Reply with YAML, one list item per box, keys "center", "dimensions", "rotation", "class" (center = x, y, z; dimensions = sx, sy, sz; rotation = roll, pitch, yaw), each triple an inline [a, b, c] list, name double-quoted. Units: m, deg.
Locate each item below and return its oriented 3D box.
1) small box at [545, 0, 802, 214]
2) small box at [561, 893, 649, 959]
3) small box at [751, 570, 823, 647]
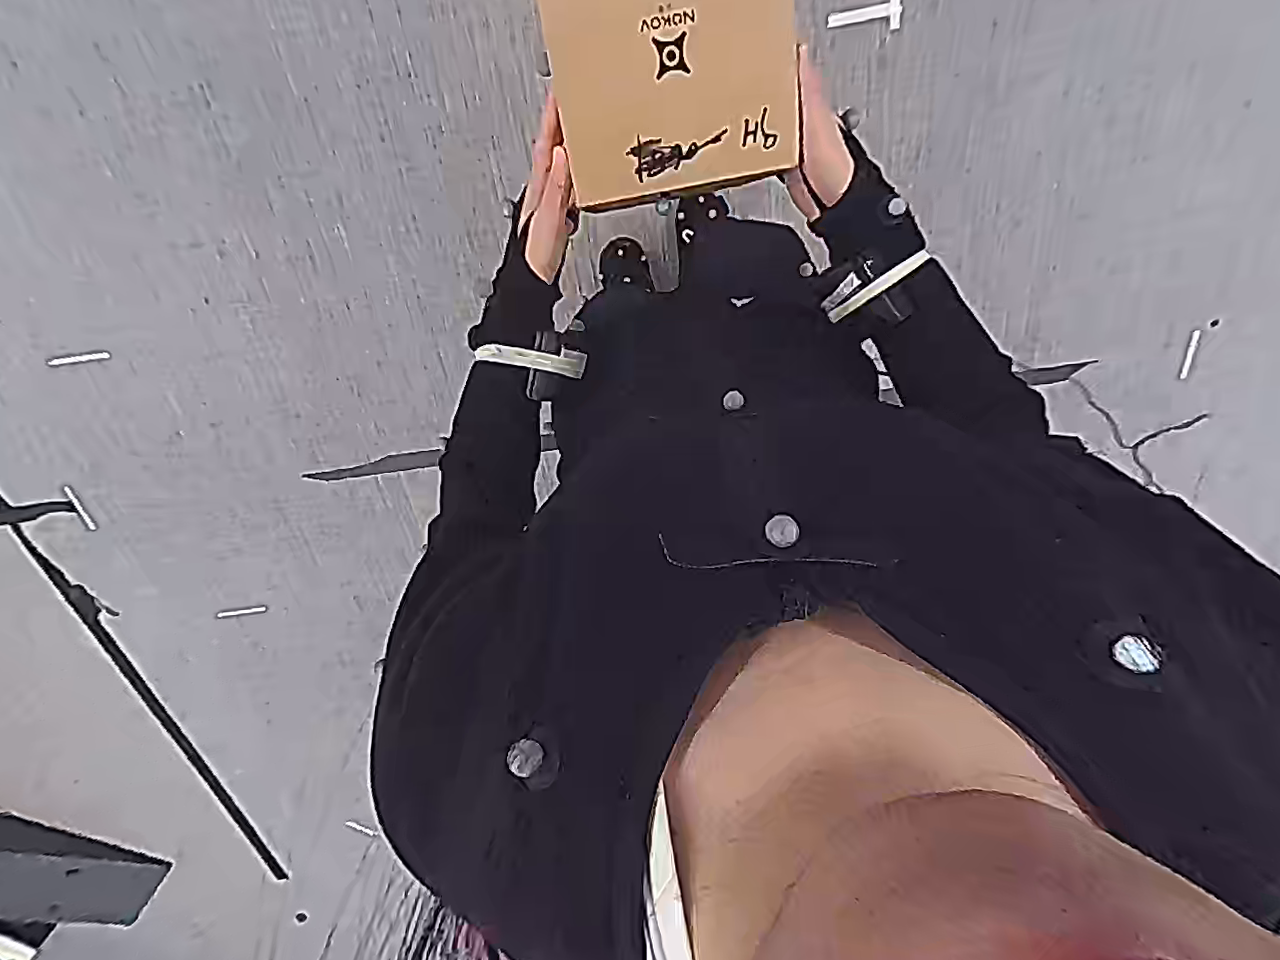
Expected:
- center: [0.019, -0.321, 0.426]
  dimensions: [0.168, 0.176, 0.179]
  rotation: [-10, 115, 2]
  class: "small box"
- center: [-0.072, 1.029, 1.157]
  dimensions: [0.179, 0.176, 0.168]
  rotation: [-7, 117, -1]
  class: "small box"
- center: [0.458, 0.398, 1.706]
  dimensions: [0.179, 0.176, 0.168]
  rotation: [-6, 115, 0]
  class: "small box"
